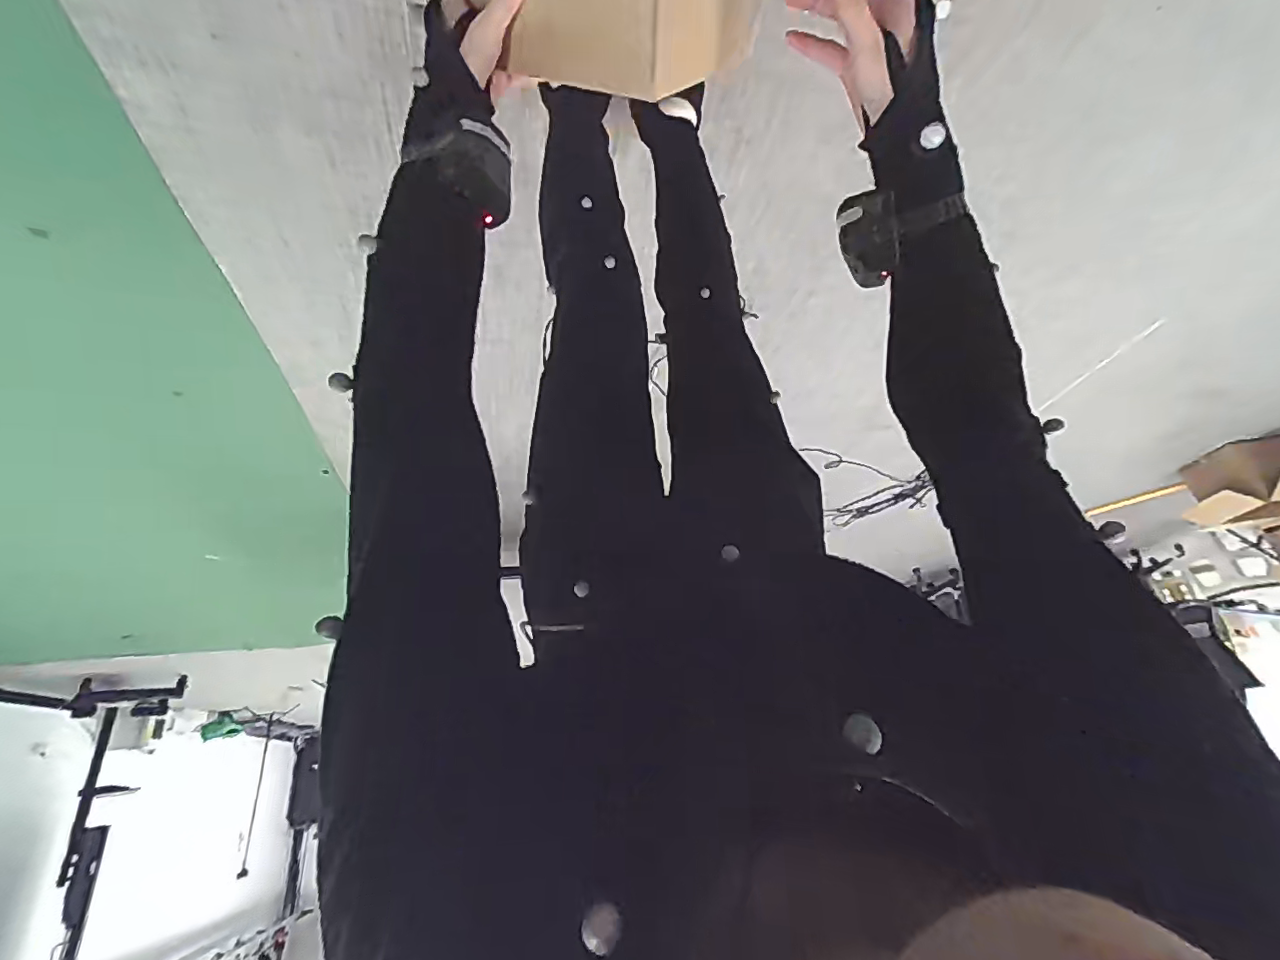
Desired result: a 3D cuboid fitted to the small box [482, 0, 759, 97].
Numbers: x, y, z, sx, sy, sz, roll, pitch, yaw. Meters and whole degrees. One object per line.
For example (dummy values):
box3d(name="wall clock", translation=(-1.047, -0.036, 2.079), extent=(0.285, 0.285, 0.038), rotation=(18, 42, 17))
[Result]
box3d(name="small box", translation=(-0.006, -0.416, 0.397), extent=(0.168, 0.176, 0.179), rotation=(25, 141, 17))
